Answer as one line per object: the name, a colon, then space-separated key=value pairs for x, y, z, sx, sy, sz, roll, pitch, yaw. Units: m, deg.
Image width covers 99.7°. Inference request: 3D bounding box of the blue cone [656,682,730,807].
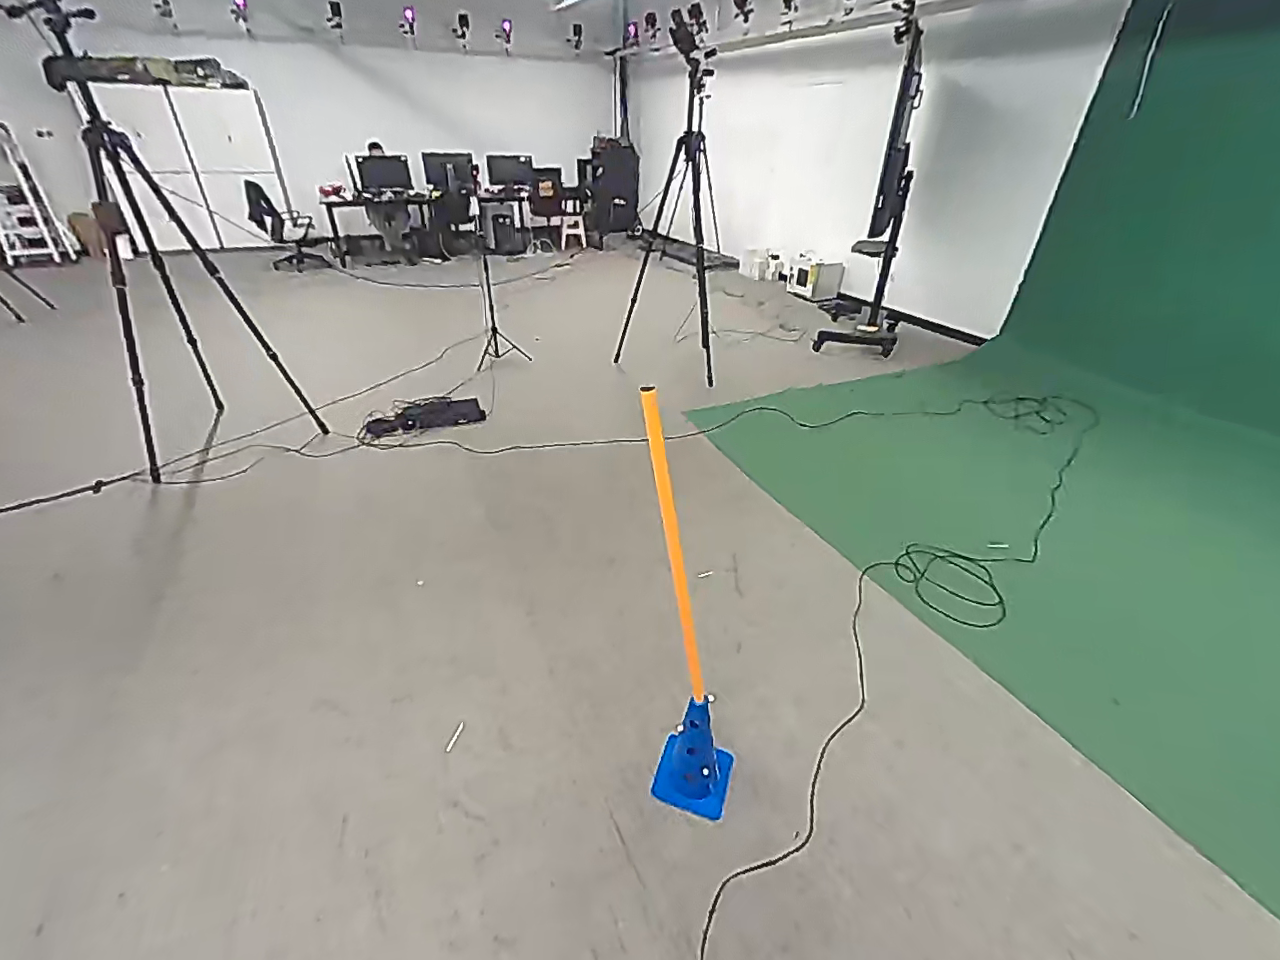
blue cone: x=0.148 y=0.674 z=1.429 sx=0.193 sy=0.380 sz=0.192 roll=10 pitch=35 yaw=16
